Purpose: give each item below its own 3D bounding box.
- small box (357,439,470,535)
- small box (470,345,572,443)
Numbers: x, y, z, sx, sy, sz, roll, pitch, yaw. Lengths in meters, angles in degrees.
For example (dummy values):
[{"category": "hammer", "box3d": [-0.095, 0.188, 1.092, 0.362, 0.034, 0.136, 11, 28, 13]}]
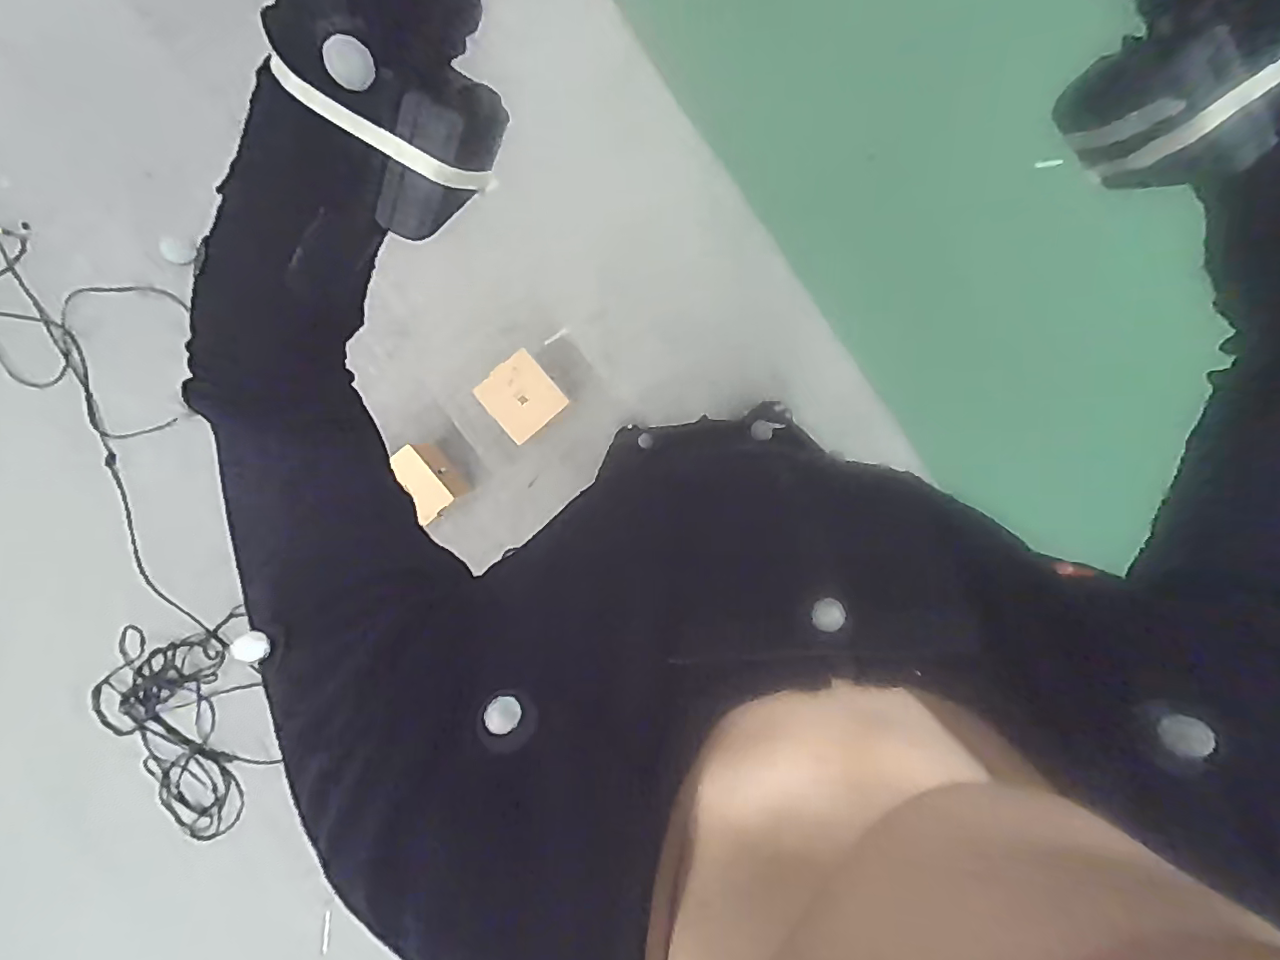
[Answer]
[{"category": "small box", "box3d": [-0.568, 0.012, 1.383, 0.168, 0.176, 0.179, -38, 96, 3]}, {"category": "small box", "box3d": [-0.289, -0.214, 1.363, 0.168, 0.176, 0.179, -40, 96, 2]}]
